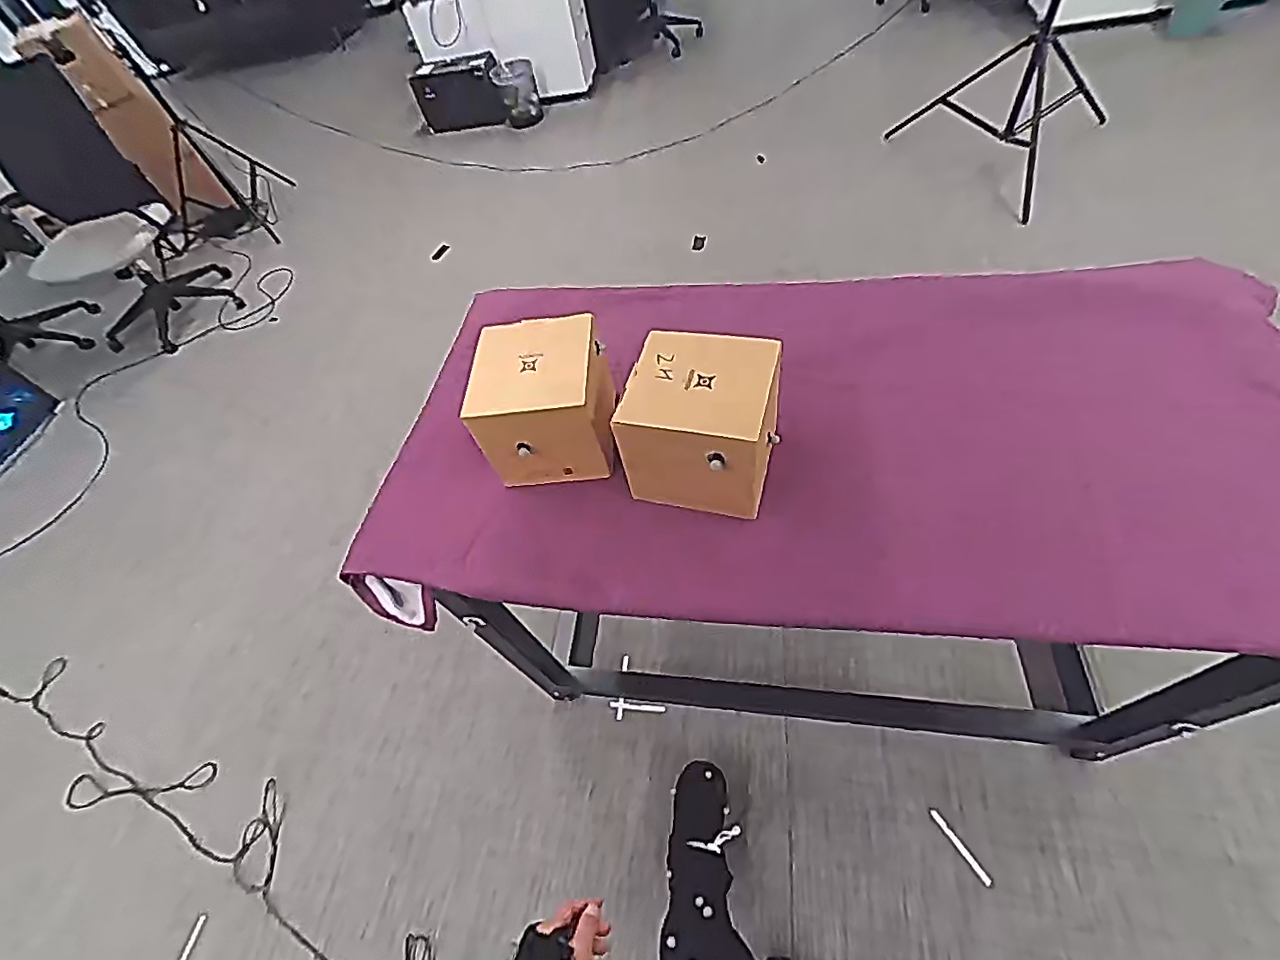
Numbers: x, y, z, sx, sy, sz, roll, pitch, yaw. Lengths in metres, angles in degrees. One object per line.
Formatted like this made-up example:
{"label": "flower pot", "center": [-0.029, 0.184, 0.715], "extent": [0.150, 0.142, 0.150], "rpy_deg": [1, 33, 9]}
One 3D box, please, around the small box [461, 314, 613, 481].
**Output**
{"label": "small box", "center": [-0.137, -0.111, 0.792], "extent": [0.168, 0.176, 0.179], "rpy_deg": [-6, 55, 7]}

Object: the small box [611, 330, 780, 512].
{"label": "small box", "center": [0.082, -0.075, 0.721], "extent": [0.179, 0.176, 0.168], "rpy_deg": [9, 56, 18]}
